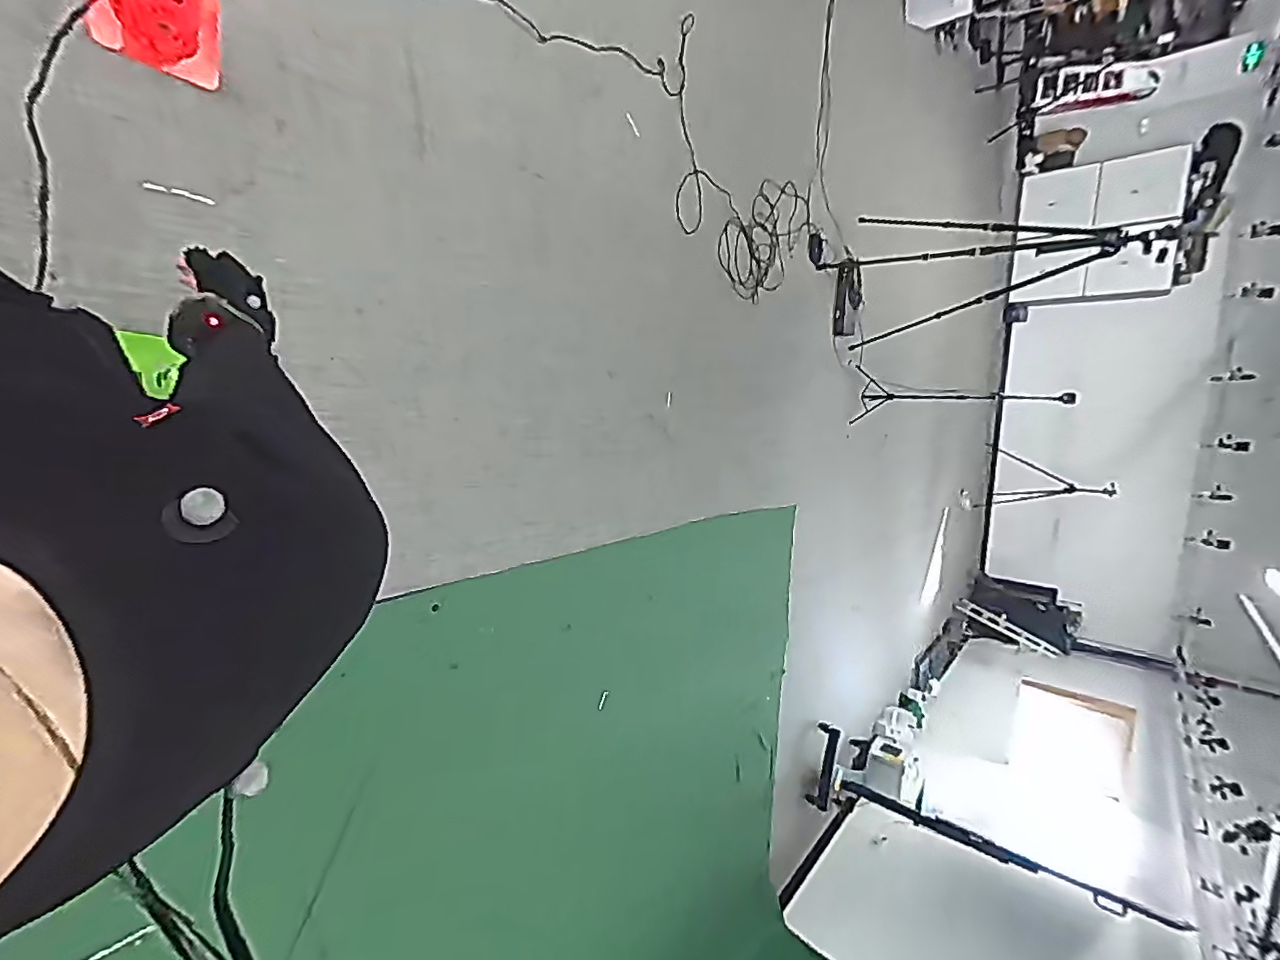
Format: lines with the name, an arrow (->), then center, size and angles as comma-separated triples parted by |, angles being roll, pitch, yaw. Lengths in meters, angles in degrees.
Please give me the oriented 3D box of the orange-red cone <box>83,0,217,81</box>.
orange-red cone -> -0.846, -0.918, 0.967 | 0.198, 0.360, 0.199 | 1, 97, -48
